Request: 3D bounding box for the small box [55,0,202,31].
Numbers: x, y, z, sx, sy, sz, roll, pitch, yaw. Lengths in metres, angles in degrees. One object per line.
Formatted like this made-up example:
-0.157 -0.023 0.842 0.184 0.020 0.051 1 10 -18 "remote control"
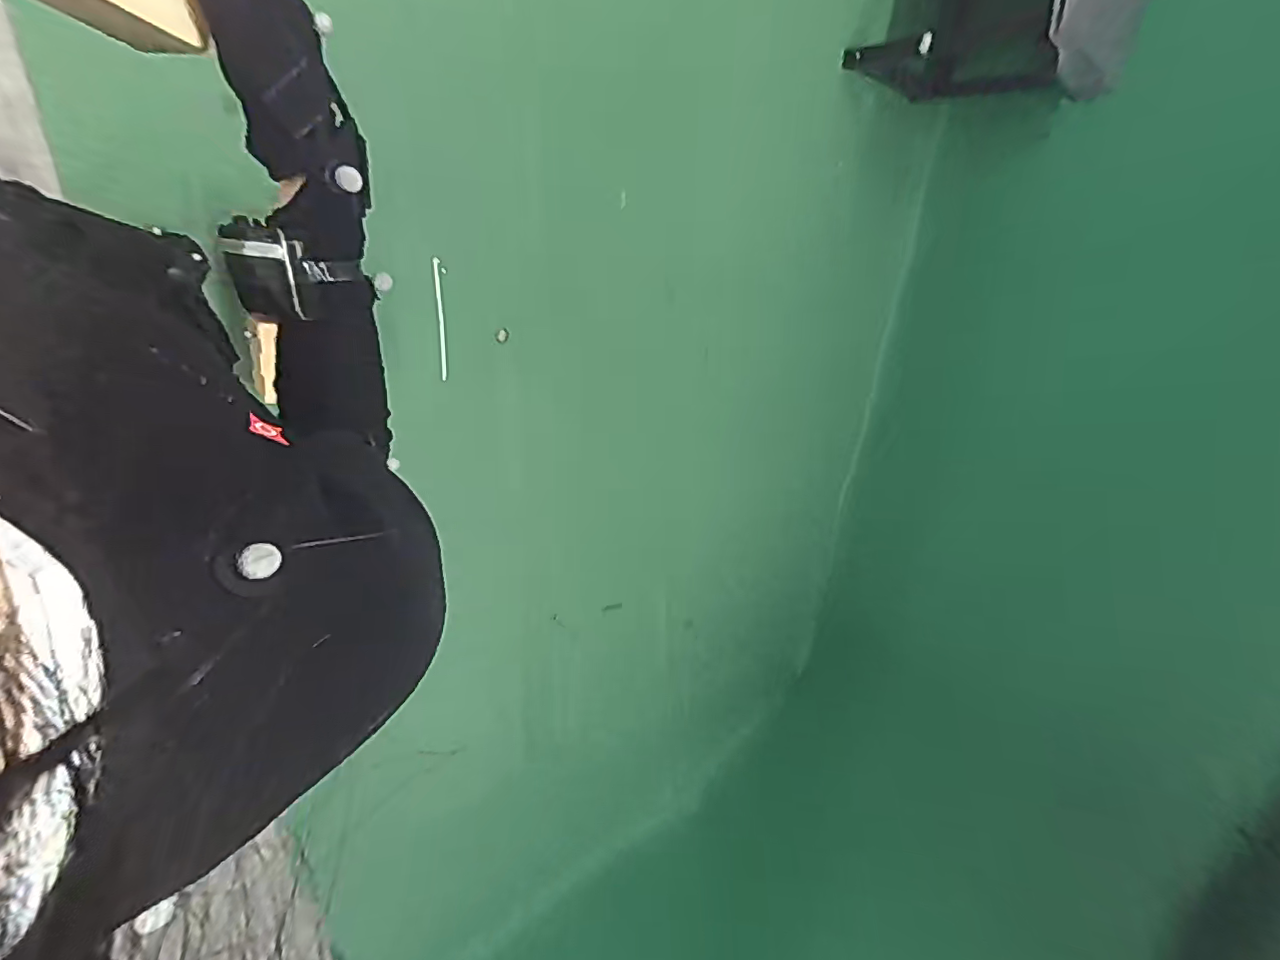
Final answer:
-0.332 -0.359 0.262 0.179 0.176 0.168 1 116 -53 "small box"
